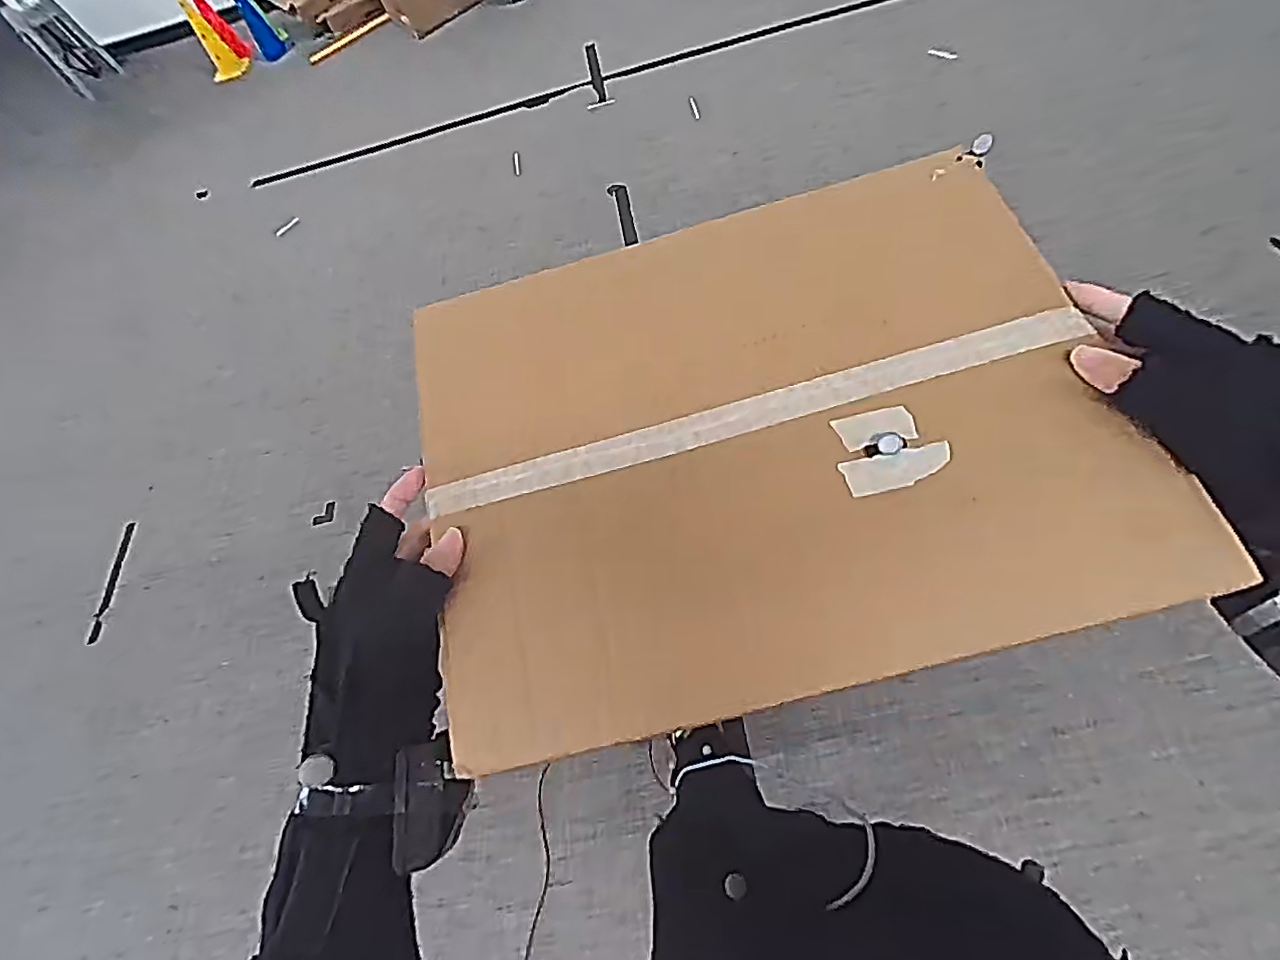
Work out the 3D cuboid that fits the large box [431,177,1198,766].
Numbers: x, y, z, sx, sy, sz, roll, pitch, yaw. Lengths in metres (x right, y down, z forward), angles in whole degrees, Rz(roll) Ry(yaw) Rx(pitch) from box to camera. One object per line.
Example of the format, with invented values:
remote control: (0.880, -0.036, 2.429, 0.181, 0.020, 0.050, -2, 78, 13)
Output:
large box: (0.086, 0.022, 0.481, 0.408, 0.320, 0.320, -16, 68, 2)
